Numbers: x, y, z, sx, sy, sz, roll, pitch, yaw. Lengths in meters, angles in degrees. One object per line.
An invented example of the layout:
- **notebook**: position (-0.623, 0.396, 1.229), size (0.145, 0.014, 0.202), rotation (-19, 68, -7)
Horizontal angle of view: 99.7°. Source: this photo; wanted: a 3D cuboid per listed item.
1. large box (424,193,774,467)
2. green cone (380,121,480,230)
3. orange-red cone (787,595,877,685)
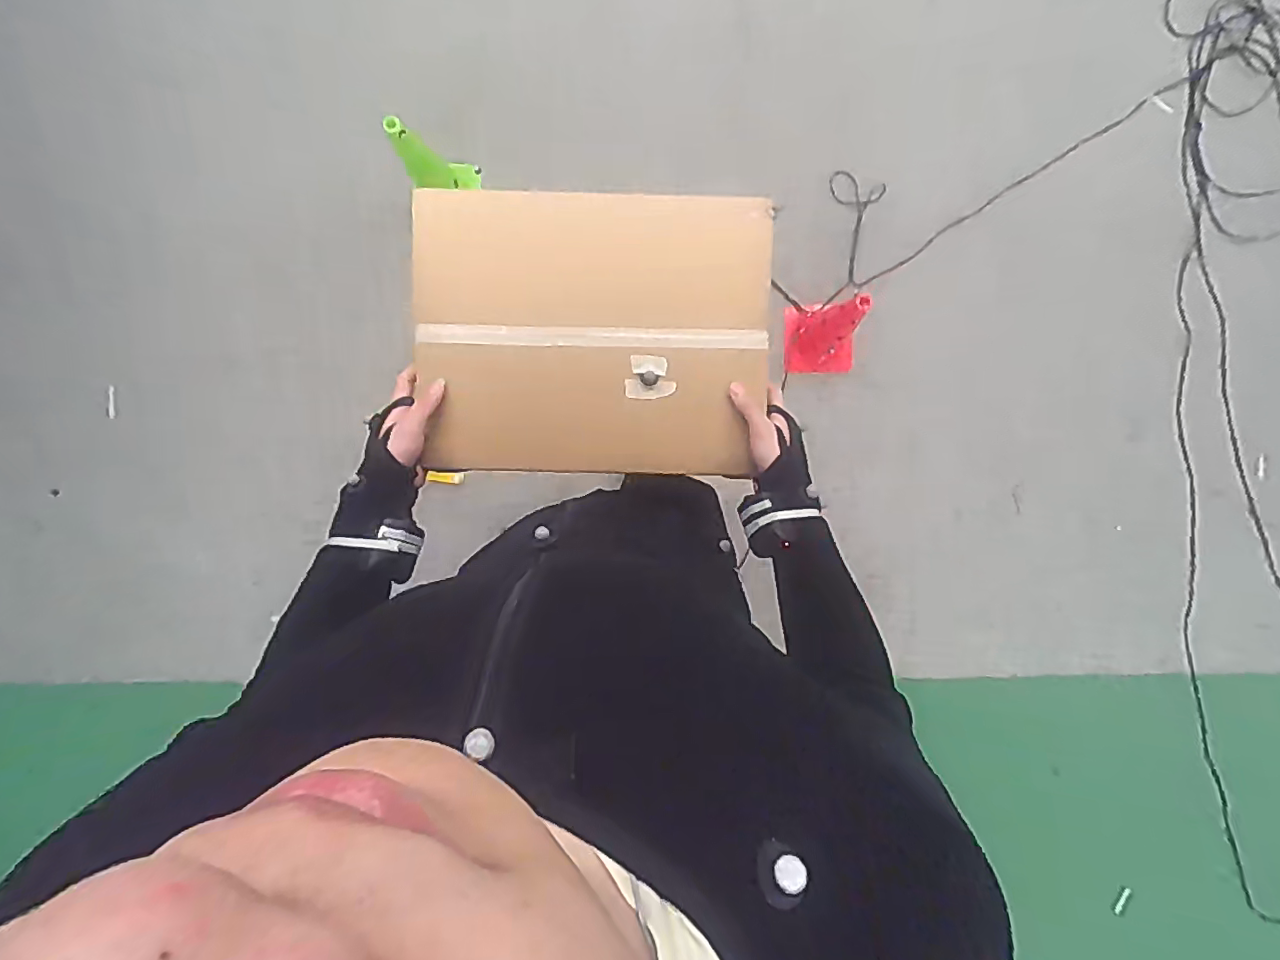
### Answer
- **large box**: position (-0.051, -0.187, 0.775), size (0.408, 0.320, 0.320), rotation (1, 98, -1)
- **green cone**: position (-0.588, -0.836, 1.443), size (0.200, 0.368, 0.202), rotation (5, 93, 2)
- **orange-red cone**: position (0.549, 0.458, 1.456), size (0.199, 0.360, 0.198), rotation (6, 93, 0)
